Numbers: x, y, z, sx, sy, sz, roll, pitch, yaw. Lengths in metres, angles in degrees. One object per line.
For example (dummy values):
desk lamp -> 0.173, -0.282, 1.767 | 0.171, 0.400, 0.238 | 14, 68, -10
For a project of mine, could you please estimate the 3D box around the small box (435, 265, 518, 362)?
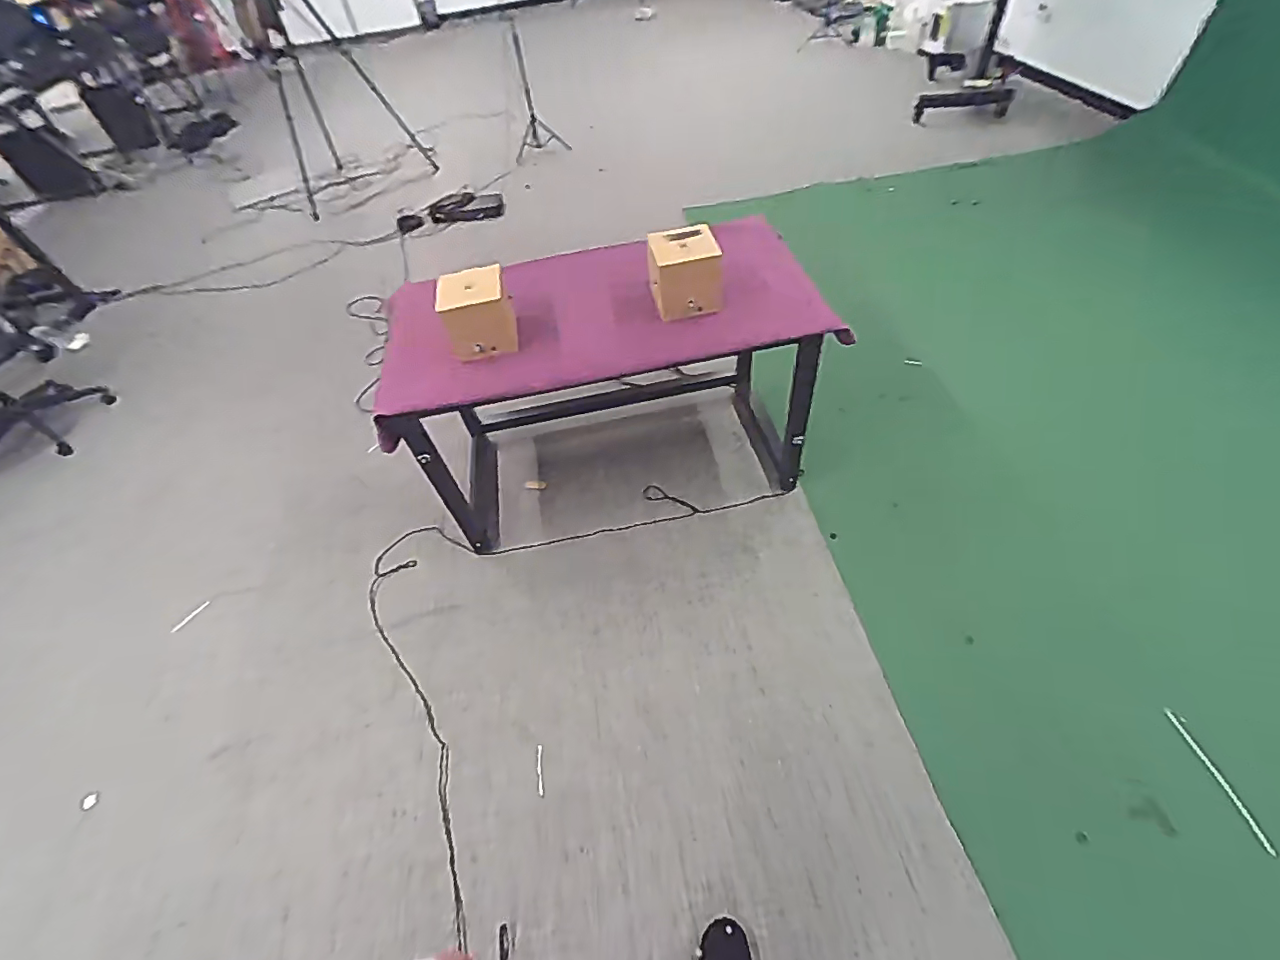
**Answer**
small box -> -0.427, -0.440, 1.437 | 0.168, 0.176, 0.179 | -11, 51, -2
